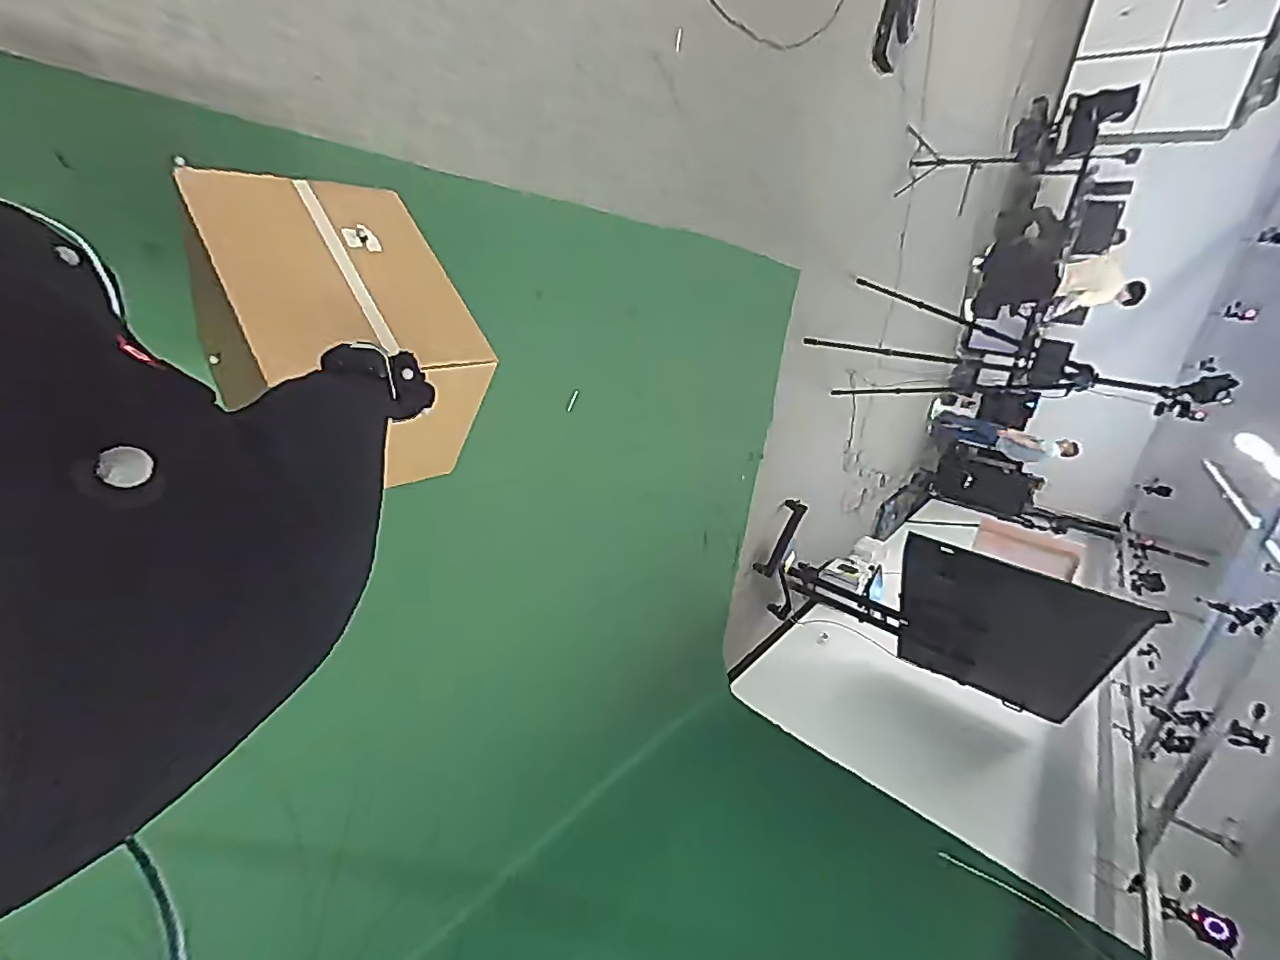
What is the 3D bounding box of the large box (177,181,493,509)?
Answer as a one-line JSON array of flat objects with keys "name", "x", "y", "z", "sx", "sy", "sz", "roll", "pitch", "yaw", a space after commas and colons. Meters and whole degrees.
[{"name": "large box", "x": -0.512, "y": -0.224, "z": 0.918, "sx": 0.320, "sy": 0.408, "sz": 0.320, "roll": -18, "pitch": 157, "yaw": -42}]
